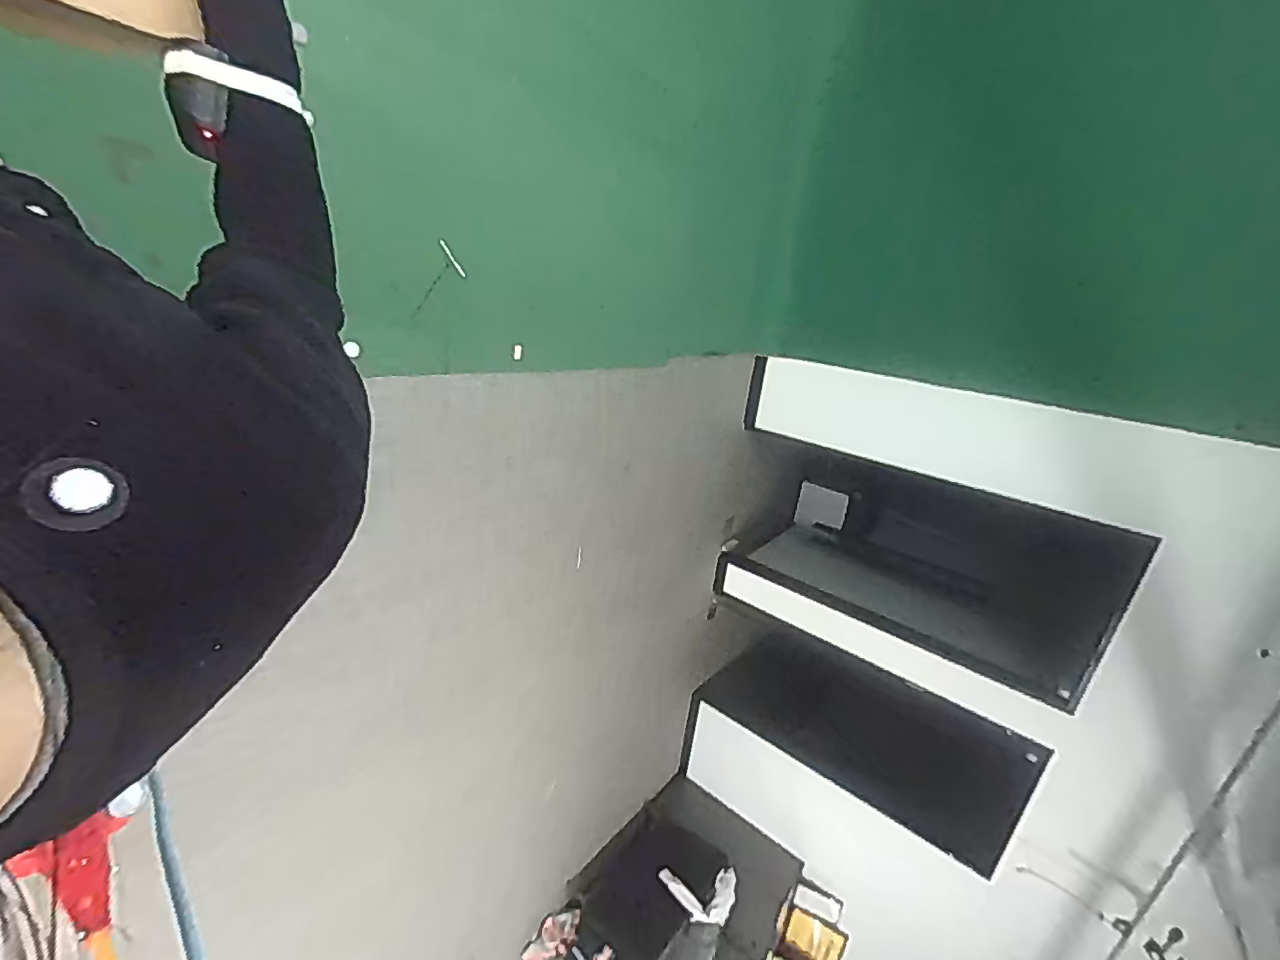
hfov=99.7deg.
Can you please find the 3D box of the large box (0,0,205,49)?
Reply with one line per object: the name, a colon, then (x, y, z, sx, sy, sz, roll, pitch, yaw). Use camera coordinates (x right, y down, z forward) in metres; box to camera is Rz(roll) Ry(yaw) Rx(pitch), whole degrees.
large box: (-0.541, -0.494, 0.283, 0.408, 0.320, 0.320, -19, 128, -54)
